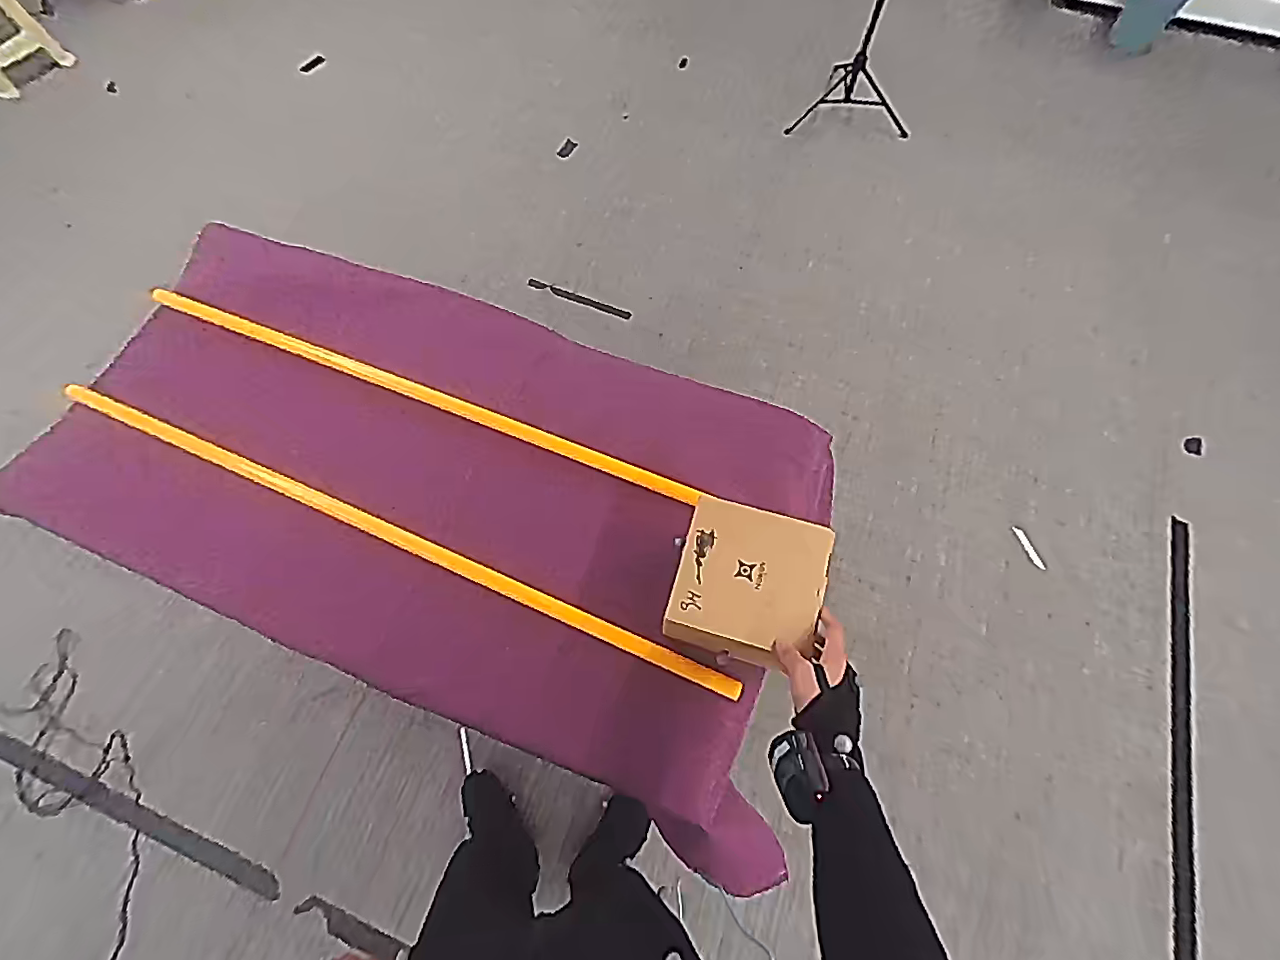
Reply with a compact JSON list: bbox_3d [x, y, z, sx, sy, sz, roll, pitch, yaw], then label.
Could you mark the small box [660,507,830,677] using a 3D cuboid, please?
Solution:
[{"bbox_3d":[0.133,0.158,0.732,0.179,0.176,0.168,16,69,8],"label":"small box"}]
